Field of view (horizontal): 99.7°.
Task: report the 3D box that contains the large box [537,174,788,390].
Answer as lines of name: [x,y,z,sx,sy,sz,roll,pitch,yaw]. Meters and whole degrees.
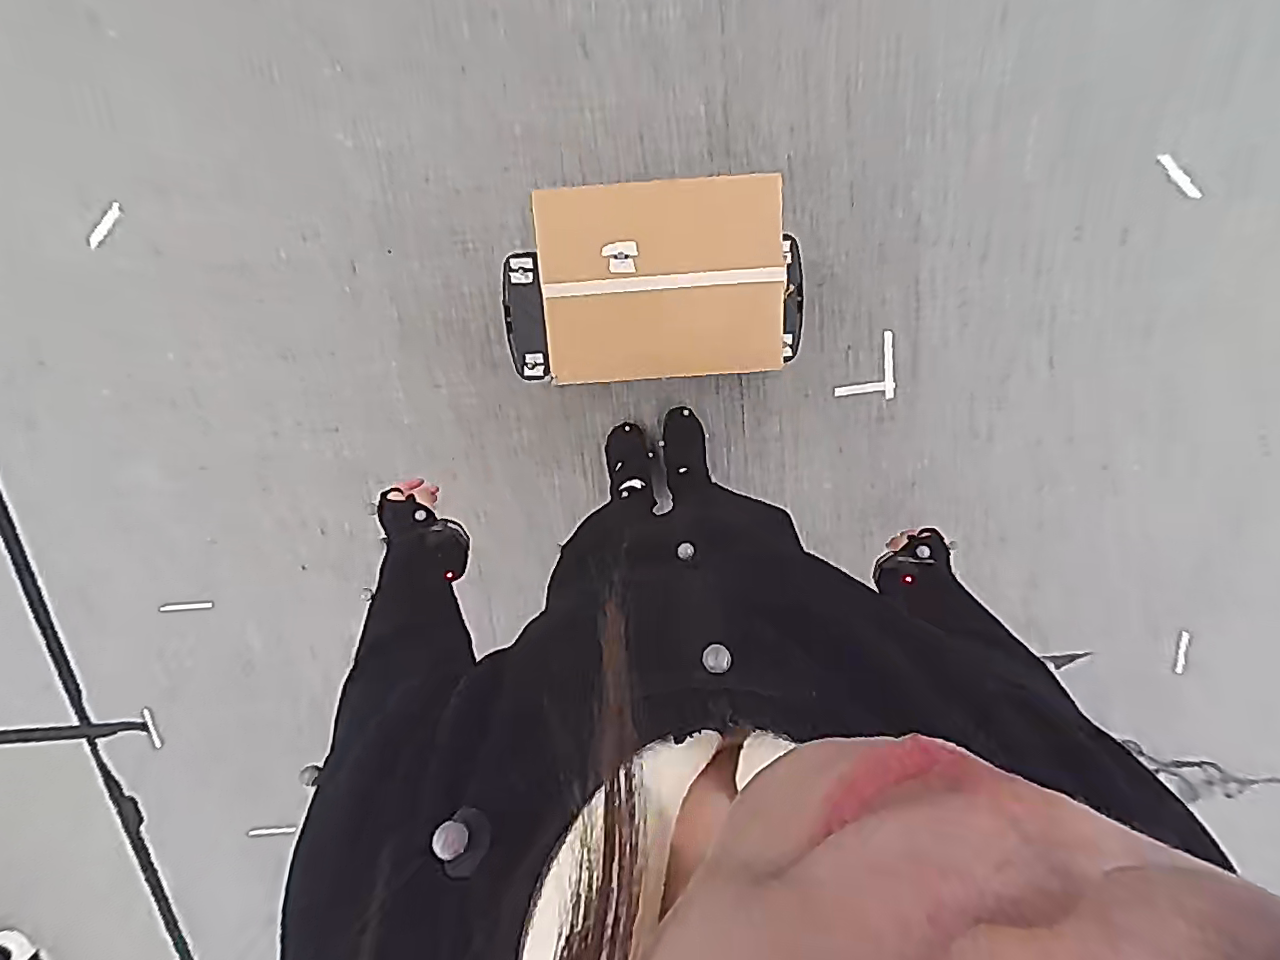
large box: [0.047,-0.355,1.035,0.408,0.320,0.320,-4,103,2]

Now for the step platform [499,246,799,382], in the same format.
step platform: [0.020,-0.384,1.274,0.684,0.204,0.286,1,104,1]
